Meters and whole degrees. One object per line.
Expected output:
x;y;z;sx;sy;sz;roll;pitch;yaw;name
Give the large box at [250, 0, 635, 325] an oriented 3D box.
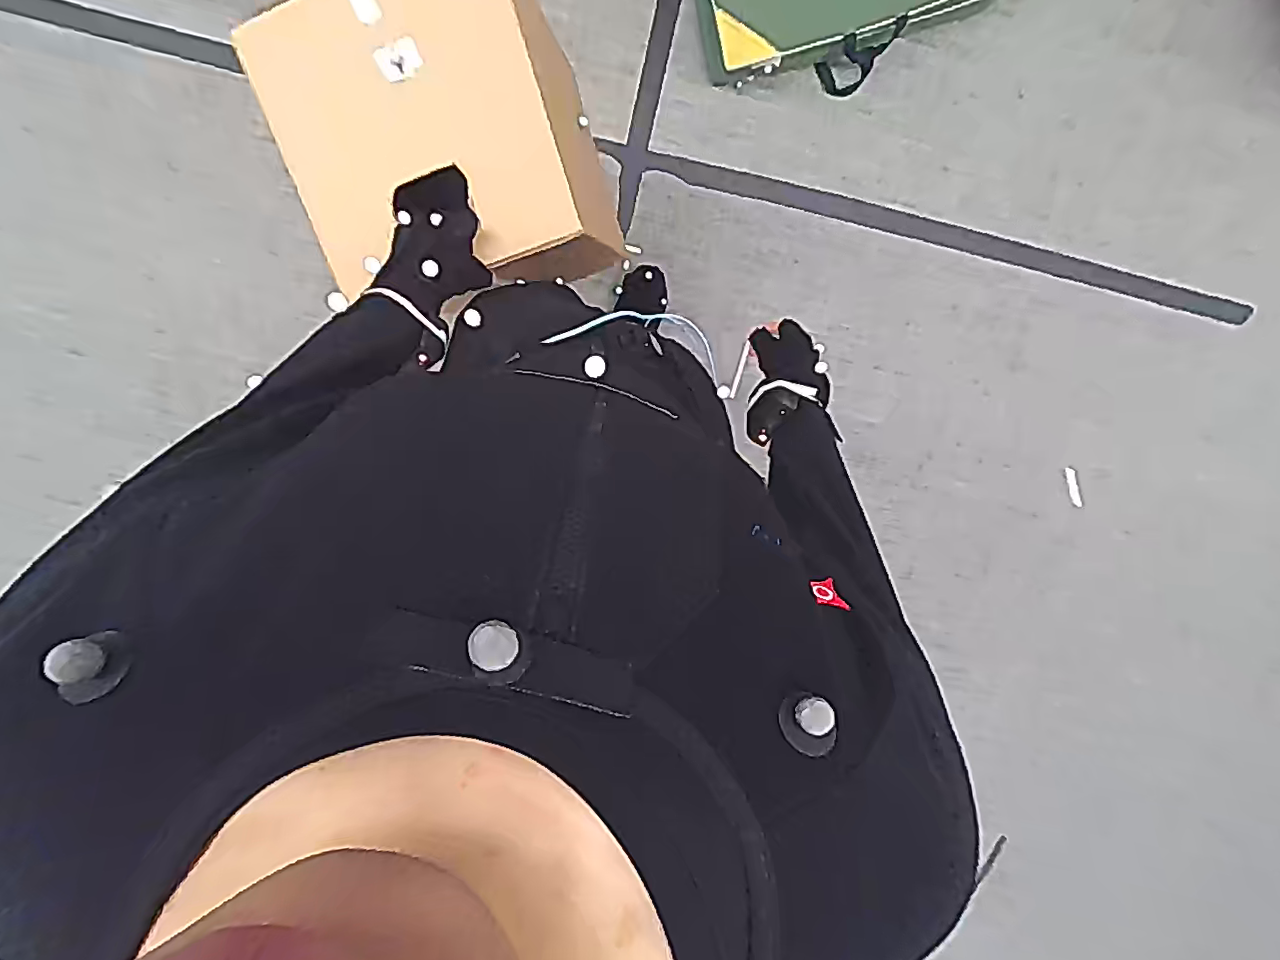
-0.226;-0.439;0.788;0.320;0.408;0.320;-15;107;12;large box
